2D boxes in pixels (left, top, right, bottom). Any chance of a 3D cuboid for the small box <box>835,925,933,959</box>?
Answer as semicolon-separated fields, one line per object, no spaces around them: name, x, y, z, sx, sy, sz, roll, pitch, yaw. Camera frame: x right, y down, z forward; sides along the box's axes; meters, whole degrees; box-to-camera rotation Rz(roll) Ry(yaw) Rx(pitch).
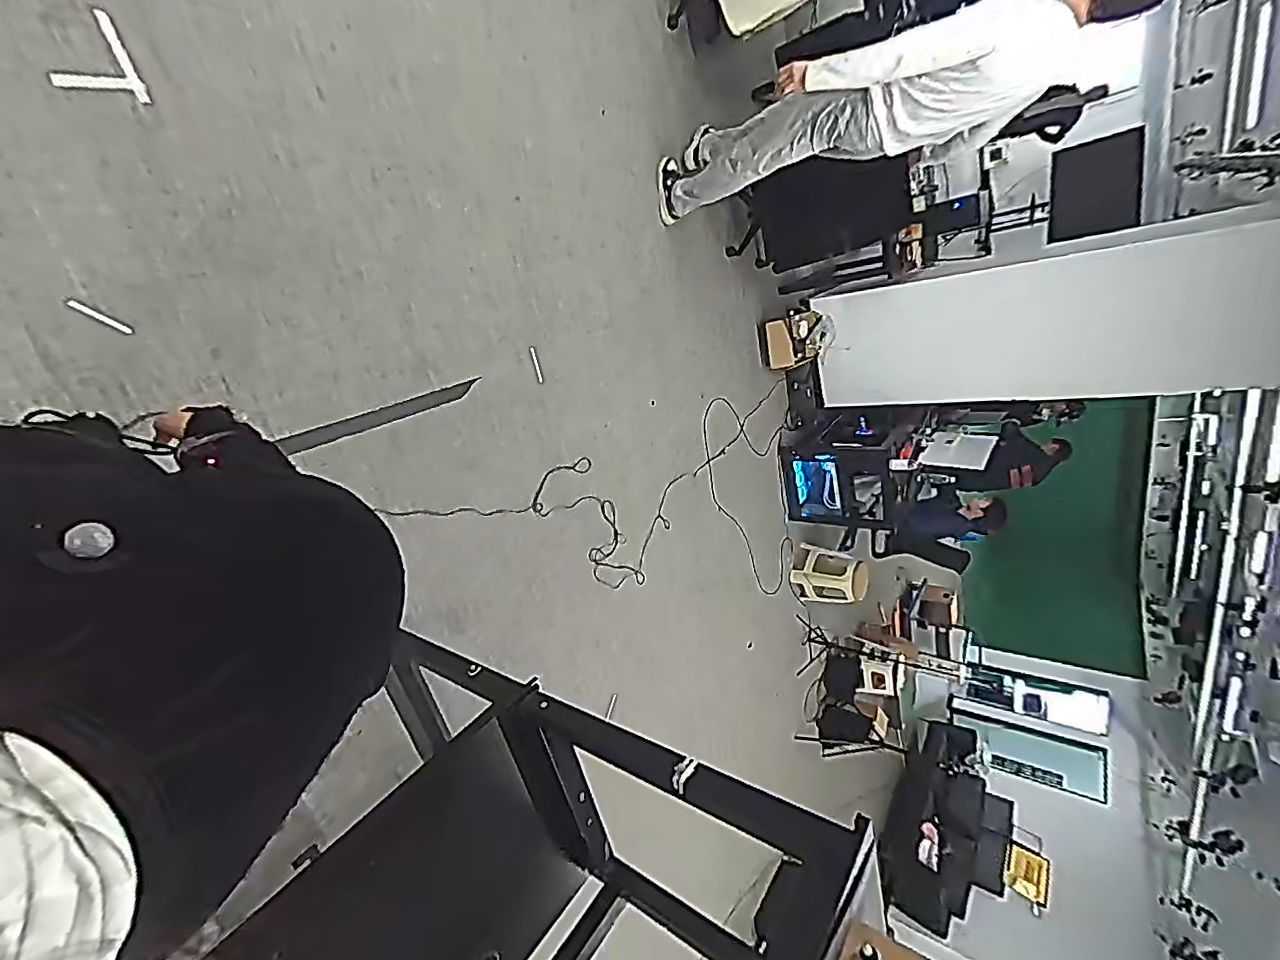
small box;0.317;0.700;0.657;0.168;0.176;0.179;-36;120;-43
